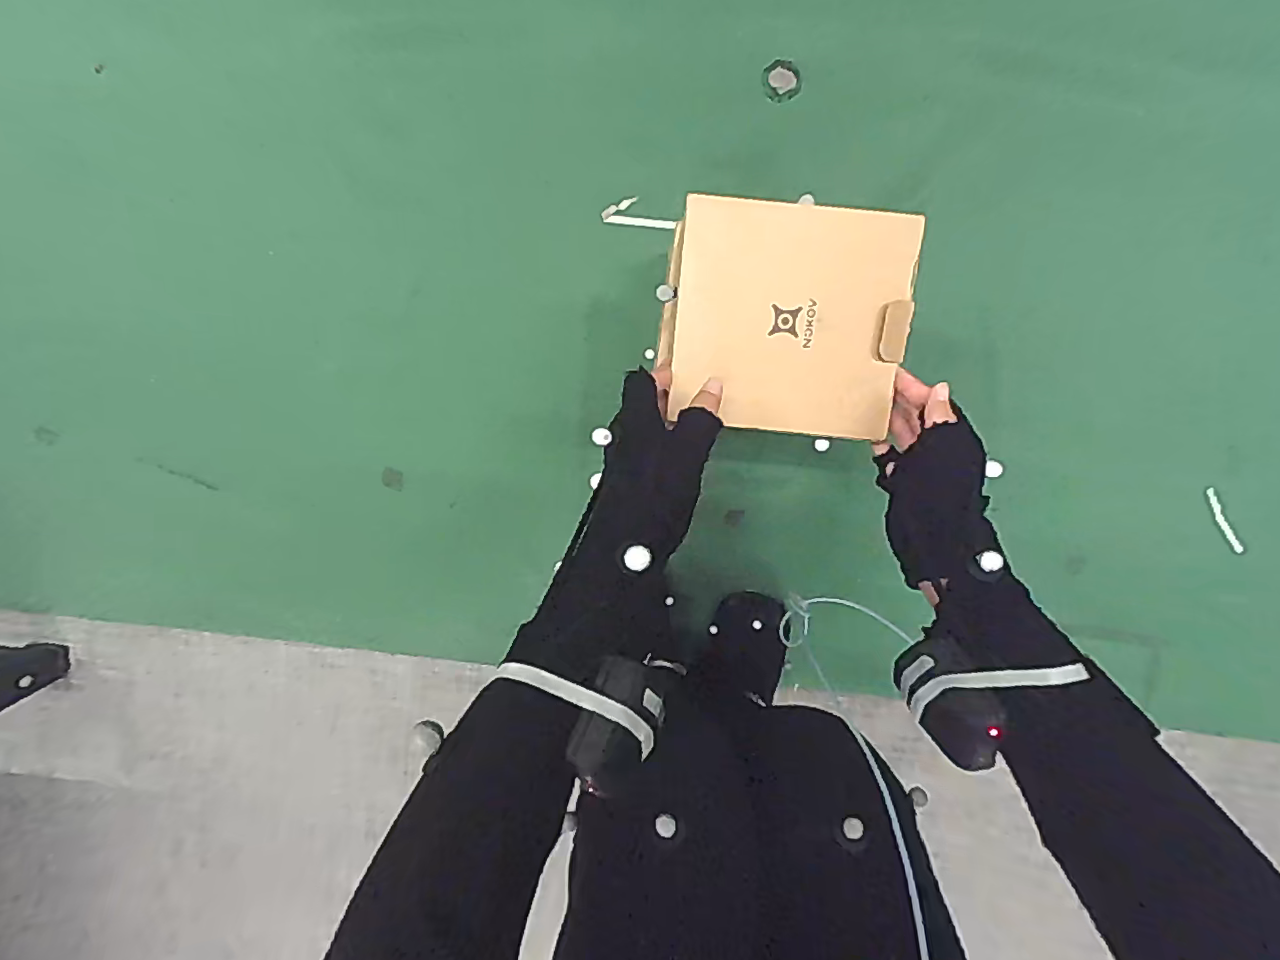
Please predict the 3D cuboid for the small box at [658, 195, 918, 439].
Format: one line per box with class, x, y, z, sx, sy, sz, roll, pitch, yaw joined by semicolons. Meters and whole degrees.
small box;0.109;-0.133;0.481;0.179;0.176;0.168;5;101;-1
